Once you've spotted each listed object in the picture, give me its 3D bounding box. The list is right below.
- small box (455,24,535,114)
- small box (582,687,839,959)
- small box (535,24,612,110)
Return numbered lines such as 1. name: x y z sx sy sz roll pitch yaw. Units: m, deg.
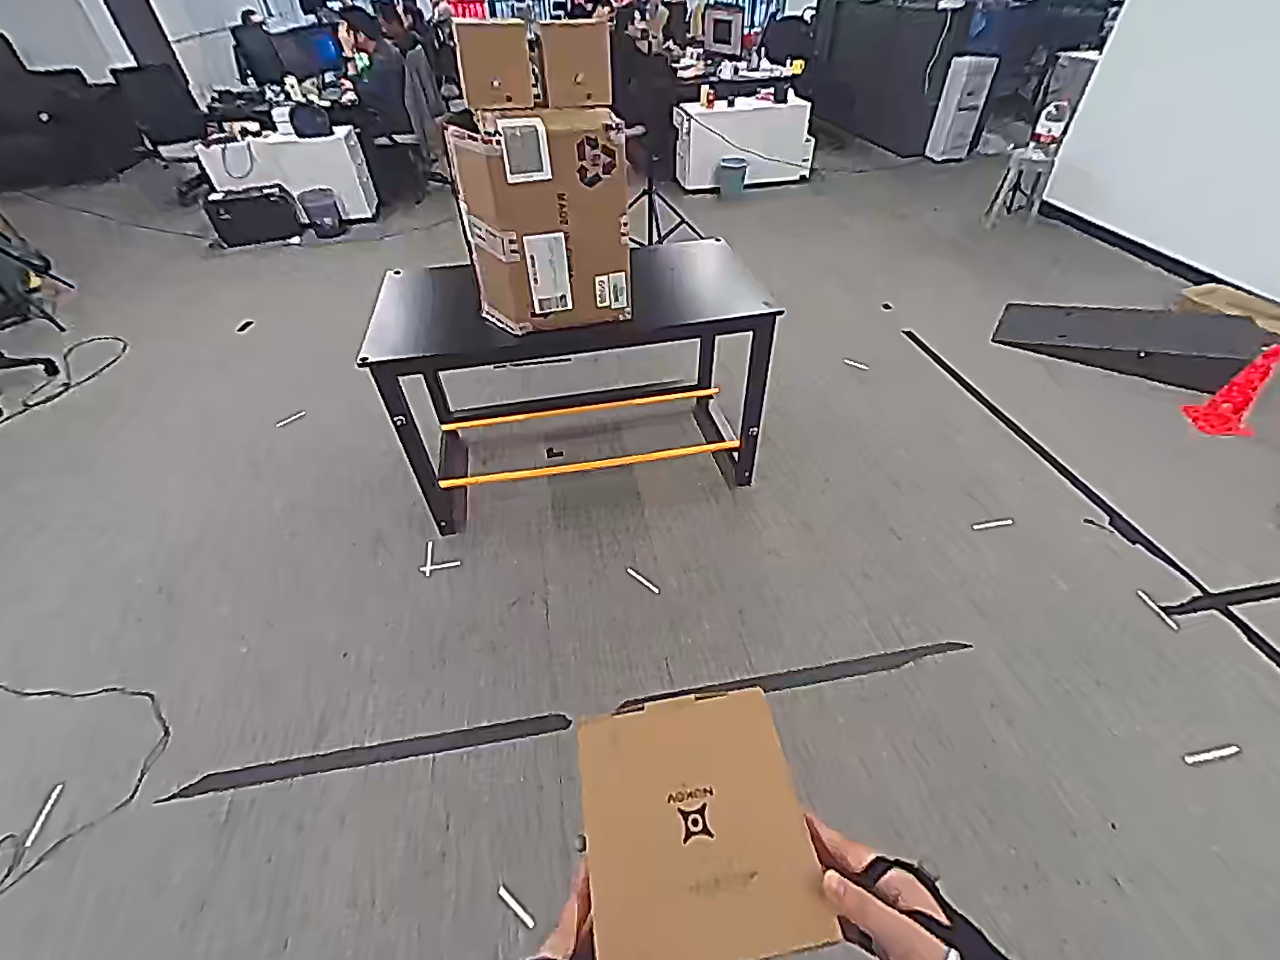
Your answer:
1. small box: -0.364 -1.033 1.360 0.168 0.176 0.179 -11 42 -13
2. small box: 0.043 0.308 0.470 0.168 0.176 0.179 -8 48 -5
3. small box: -0.171 -1.065 1.395 0.168 0.176 0.179 -11 42 -10
